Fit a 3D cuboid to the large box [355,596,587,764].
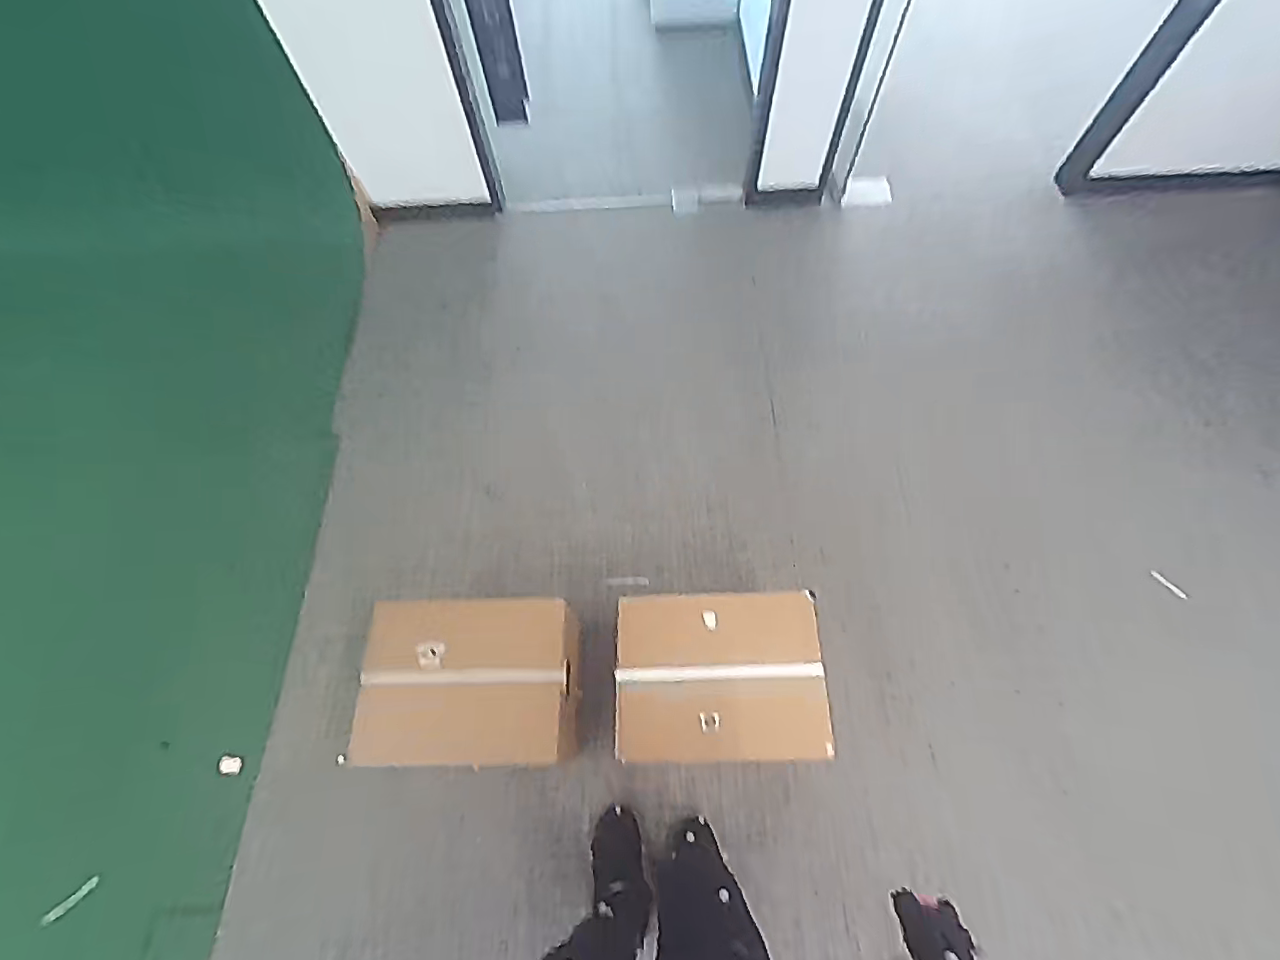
[{"bbox_3d":[-0.338,0.452,1.214,0.408,0.320,0.320,-1,64,3],"label":"large box"}]
